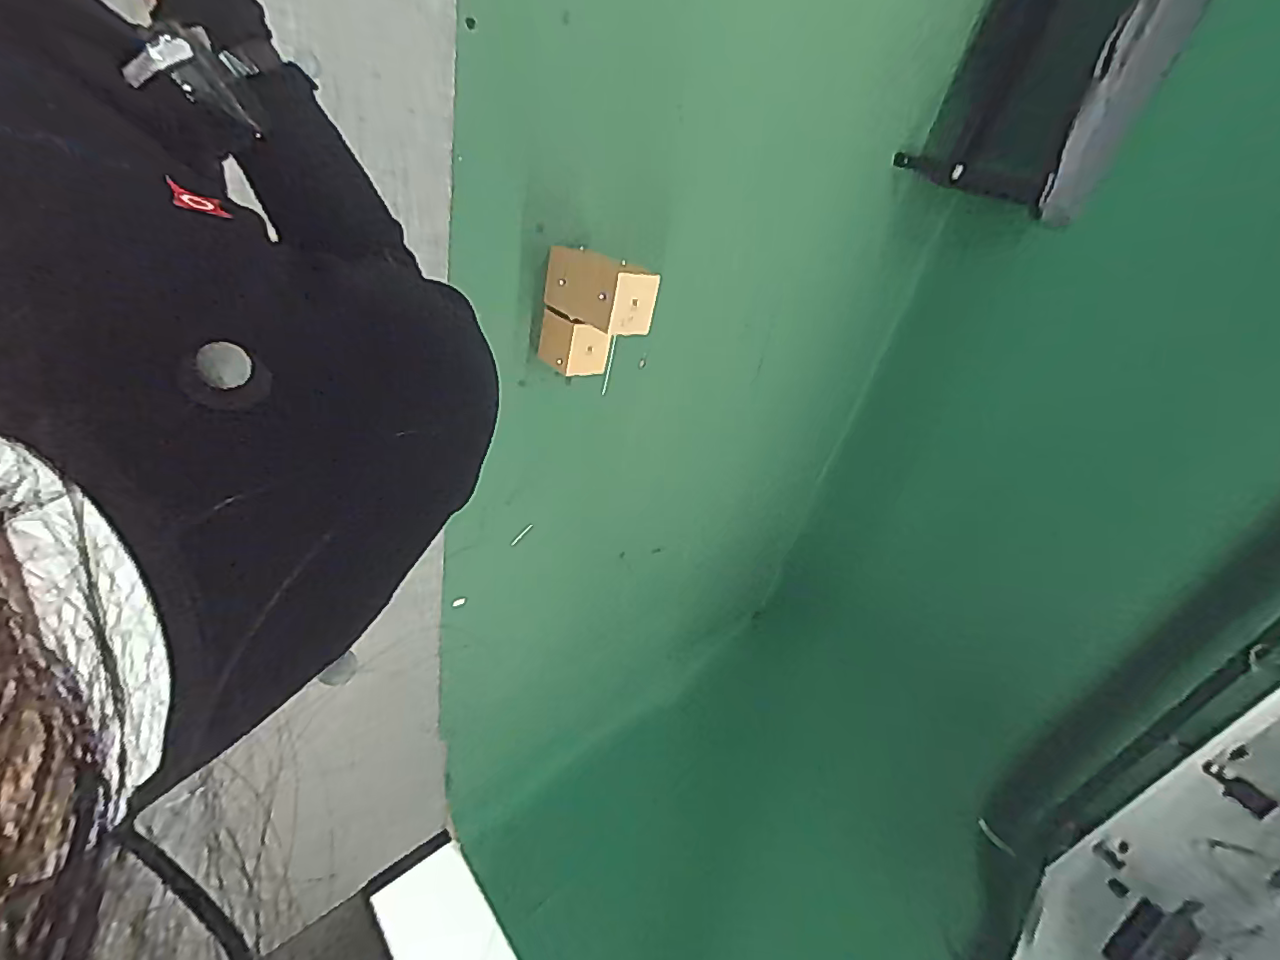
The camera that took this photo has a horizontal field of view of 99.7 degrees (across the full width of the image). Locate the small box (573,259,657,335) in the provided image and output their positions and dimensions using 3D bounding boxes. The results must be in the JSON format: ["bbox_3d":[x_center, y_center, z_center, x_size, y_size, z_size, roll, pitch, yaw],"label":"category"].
[{"bbox_3d":[-0.079,-0.544,1.608,0.168,0.176,0.179,-14,131,-42],"label":"small box"}]
